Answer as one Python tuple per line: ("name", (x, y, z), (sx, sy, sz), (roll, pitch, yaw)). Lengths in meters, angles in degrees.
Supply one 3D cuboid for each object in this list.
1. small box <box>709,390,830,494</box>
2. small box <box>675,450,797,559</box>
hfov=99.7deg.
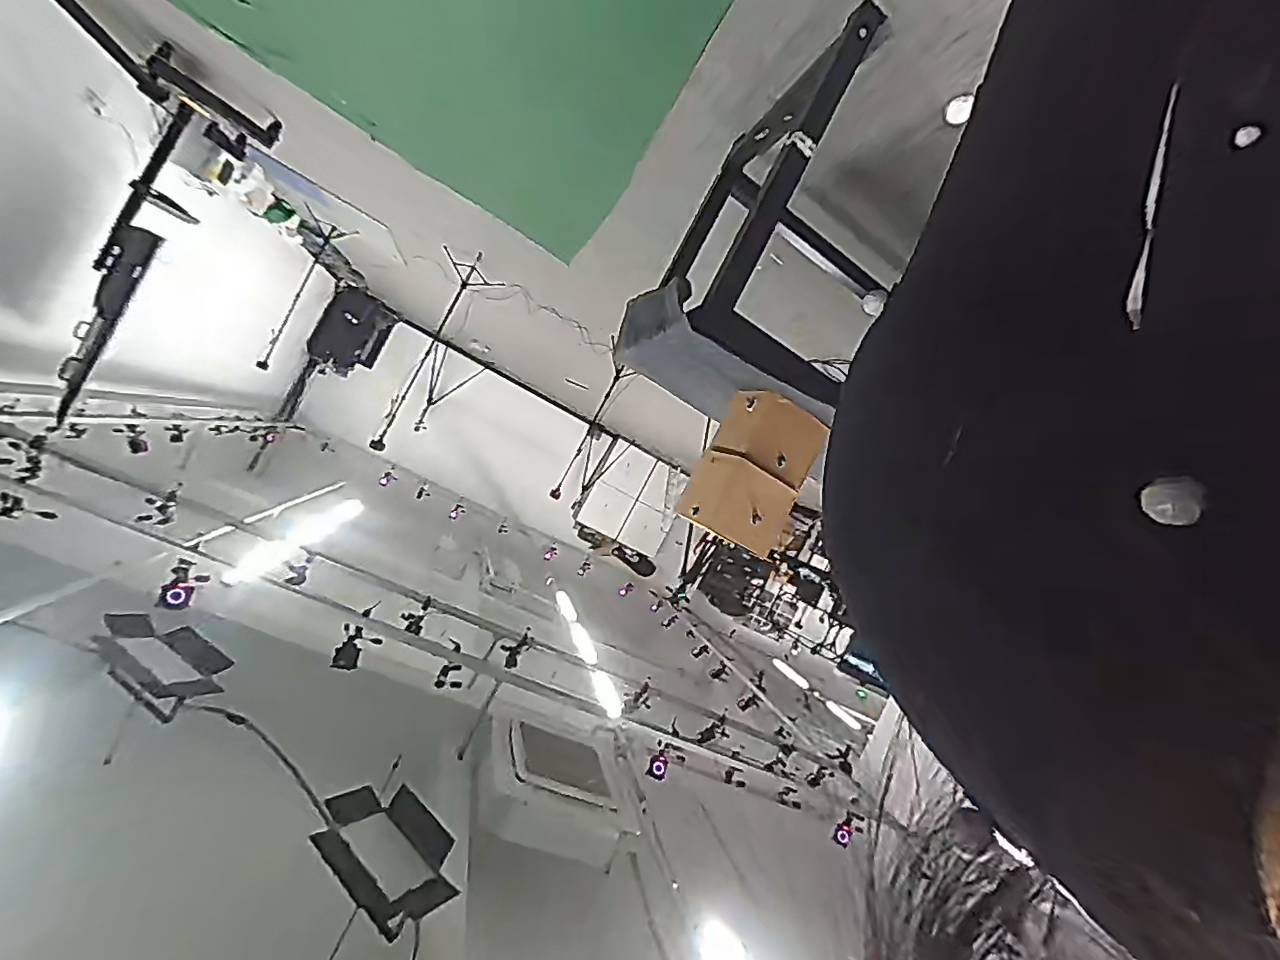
("small box", (0.295, -0.091, 1.233), (0.179, 0.176, 0.168), (29, 177, -21))
("small box", (0.215, 0.051, 1.206), (0.179, 0.176, 0.168), (28, 178, -24))
